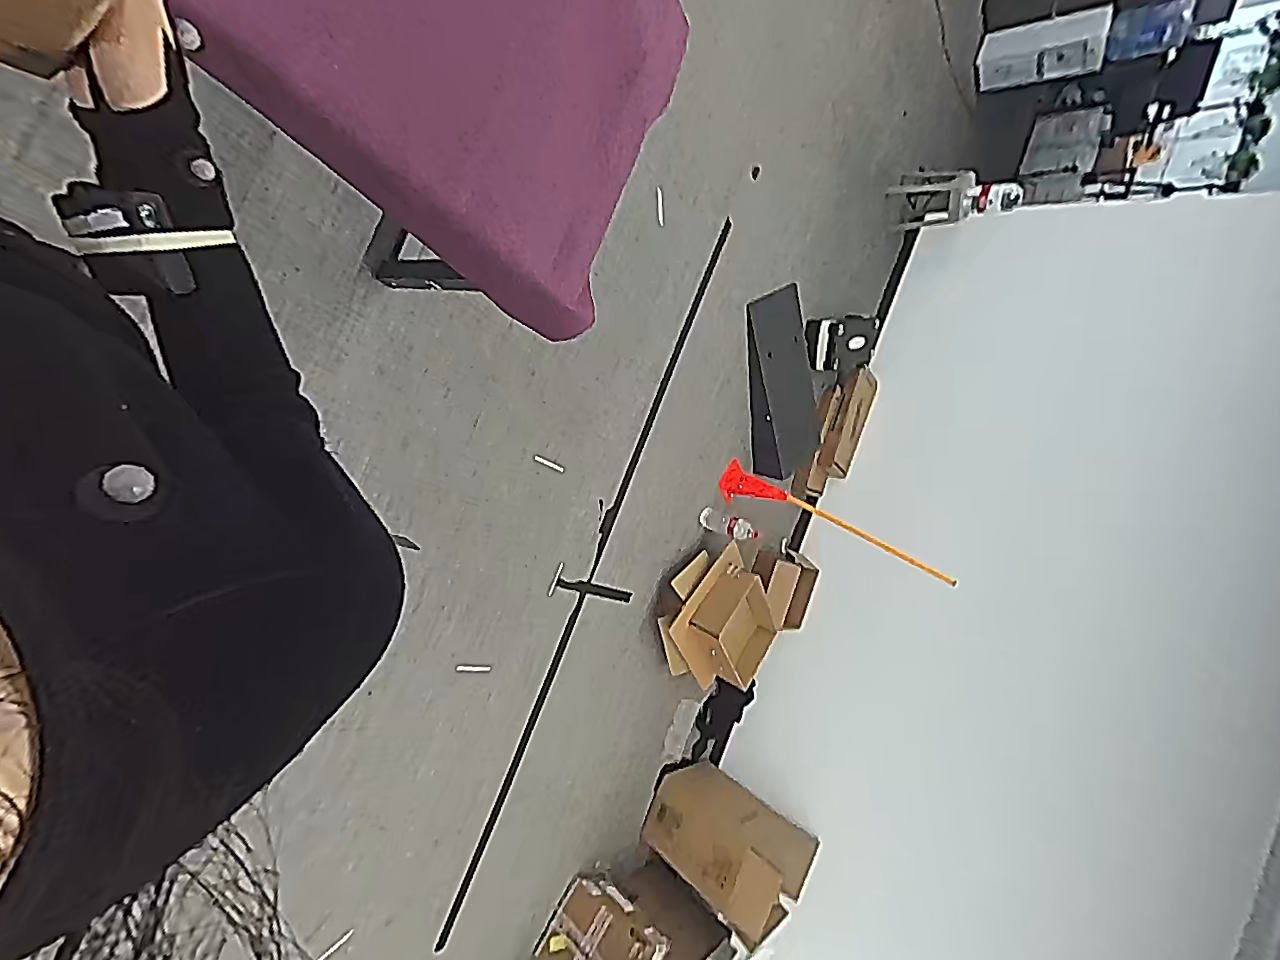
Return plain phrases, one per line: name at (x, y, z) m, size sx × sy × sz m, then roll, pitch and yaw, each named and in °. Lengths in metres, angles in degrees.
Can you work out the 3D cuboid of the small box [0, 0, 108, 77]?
small box at (-0.333, -0.312, 0.217) m, size 0.168 × 0.176 × 0.179 m, roll -4°, pitch 101°, yaw -55°
